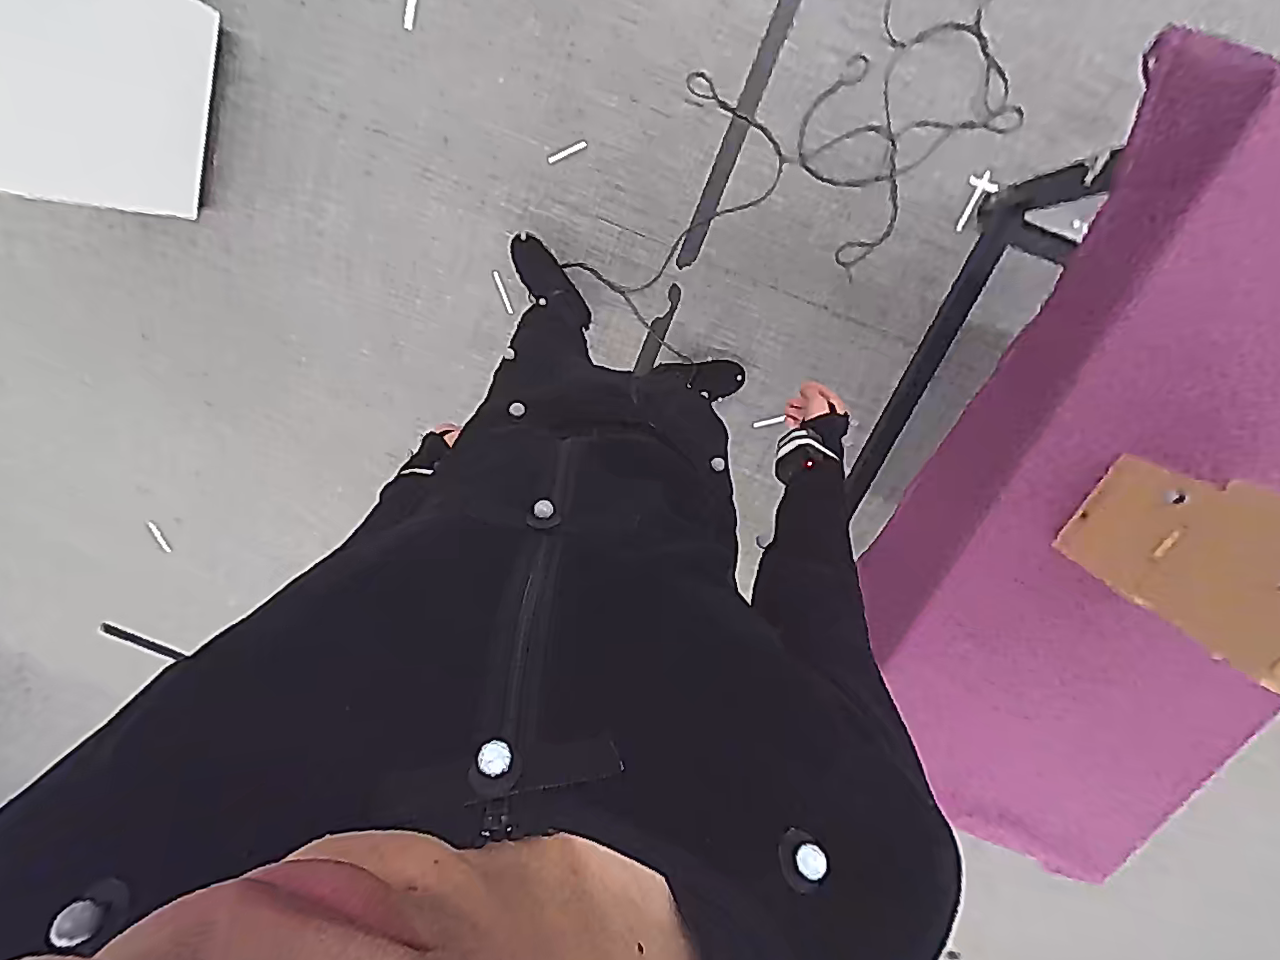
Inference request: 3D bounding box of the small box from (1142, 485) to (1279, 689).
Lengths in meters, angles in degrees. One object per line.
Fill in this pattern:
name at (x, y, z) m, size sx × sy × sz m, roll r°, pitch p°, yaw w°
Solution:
small box at (0.722, 0.128, 0.586) m, size 0.168 × 0.176 × 0.179 m, roll 24°, pitch 110°, yaw -2°
